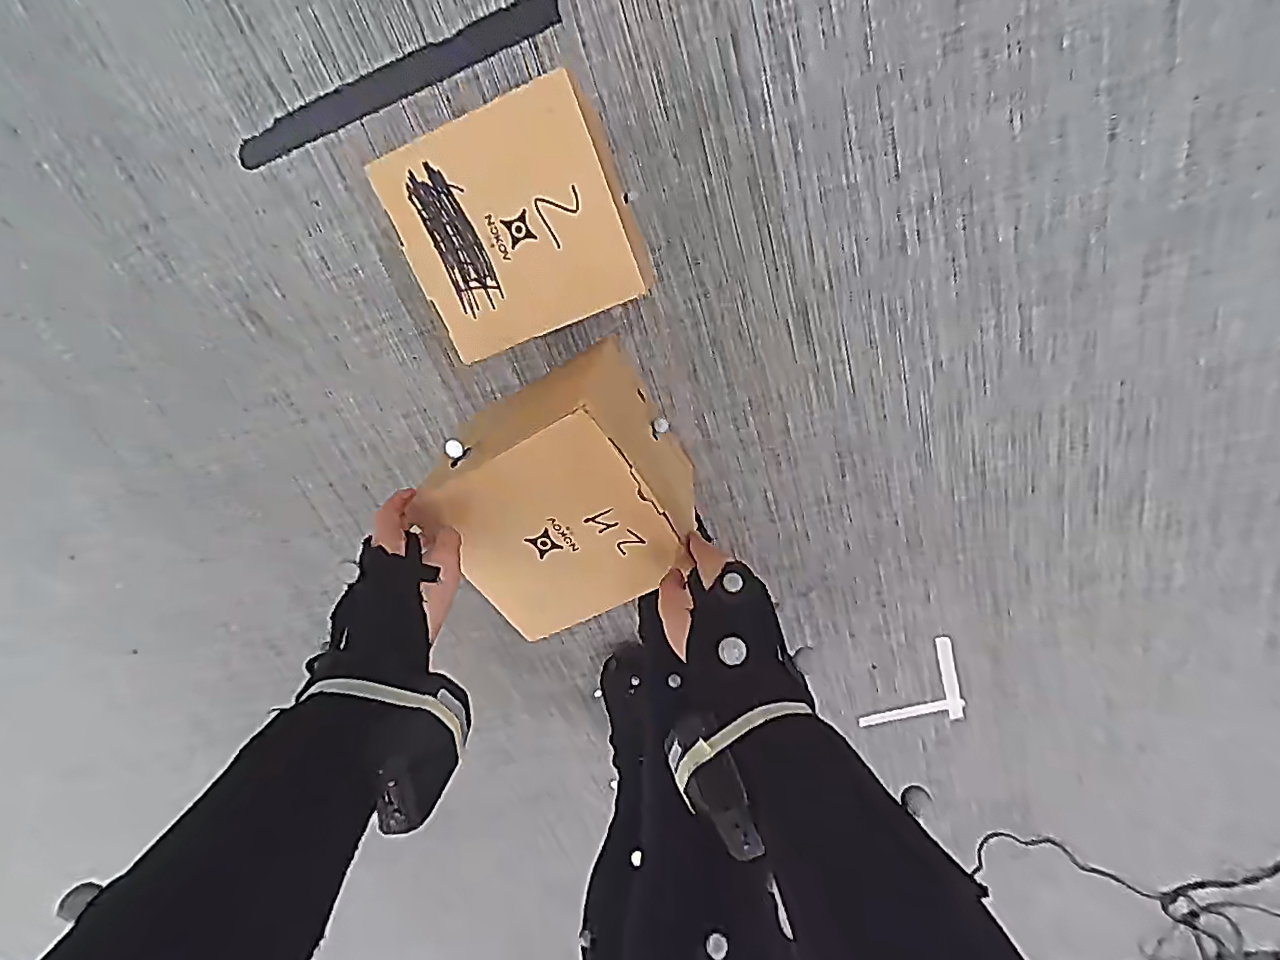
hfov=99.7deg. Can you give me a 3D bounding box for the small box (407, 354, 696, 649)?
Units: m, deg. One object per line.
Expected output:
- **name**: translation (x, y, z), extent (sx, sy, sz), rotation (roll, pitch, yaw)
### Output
- **small box**: translation (-0.063, 0.014, 0.492), extent (0.179, 0.176, 0.168), rotation (-27, 116, 17)
